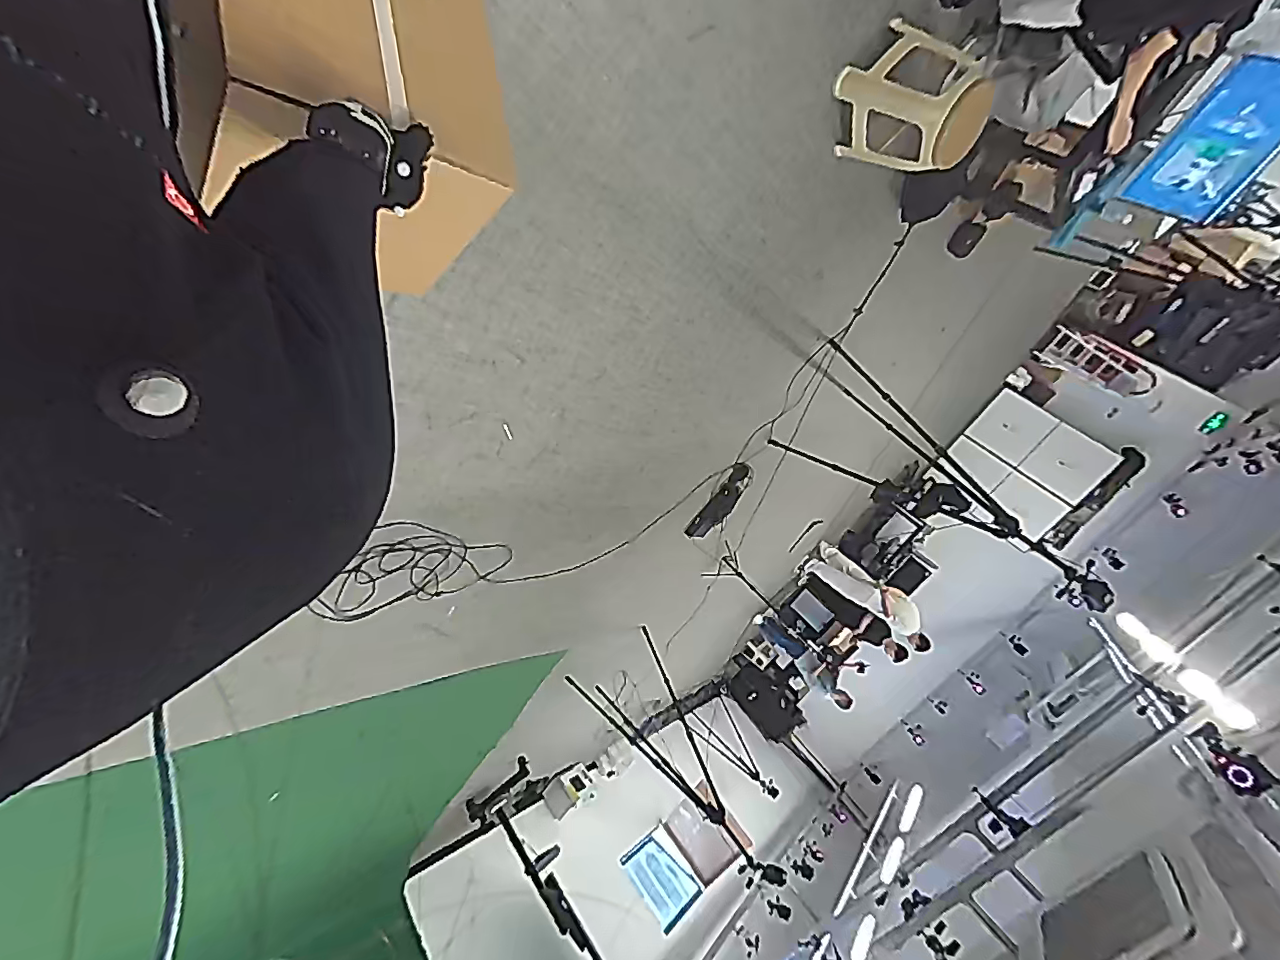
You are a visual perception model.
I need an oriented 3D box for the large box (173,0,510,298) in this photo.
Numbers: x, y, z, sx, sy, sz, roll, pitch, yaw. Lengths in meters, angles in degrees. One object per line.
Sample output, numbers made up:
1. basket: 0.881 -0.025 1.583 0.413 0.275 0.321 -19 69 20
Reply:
1. large box: -0.424 -0.527 0.755 0.320 0.408 0.320 -20 169 43
